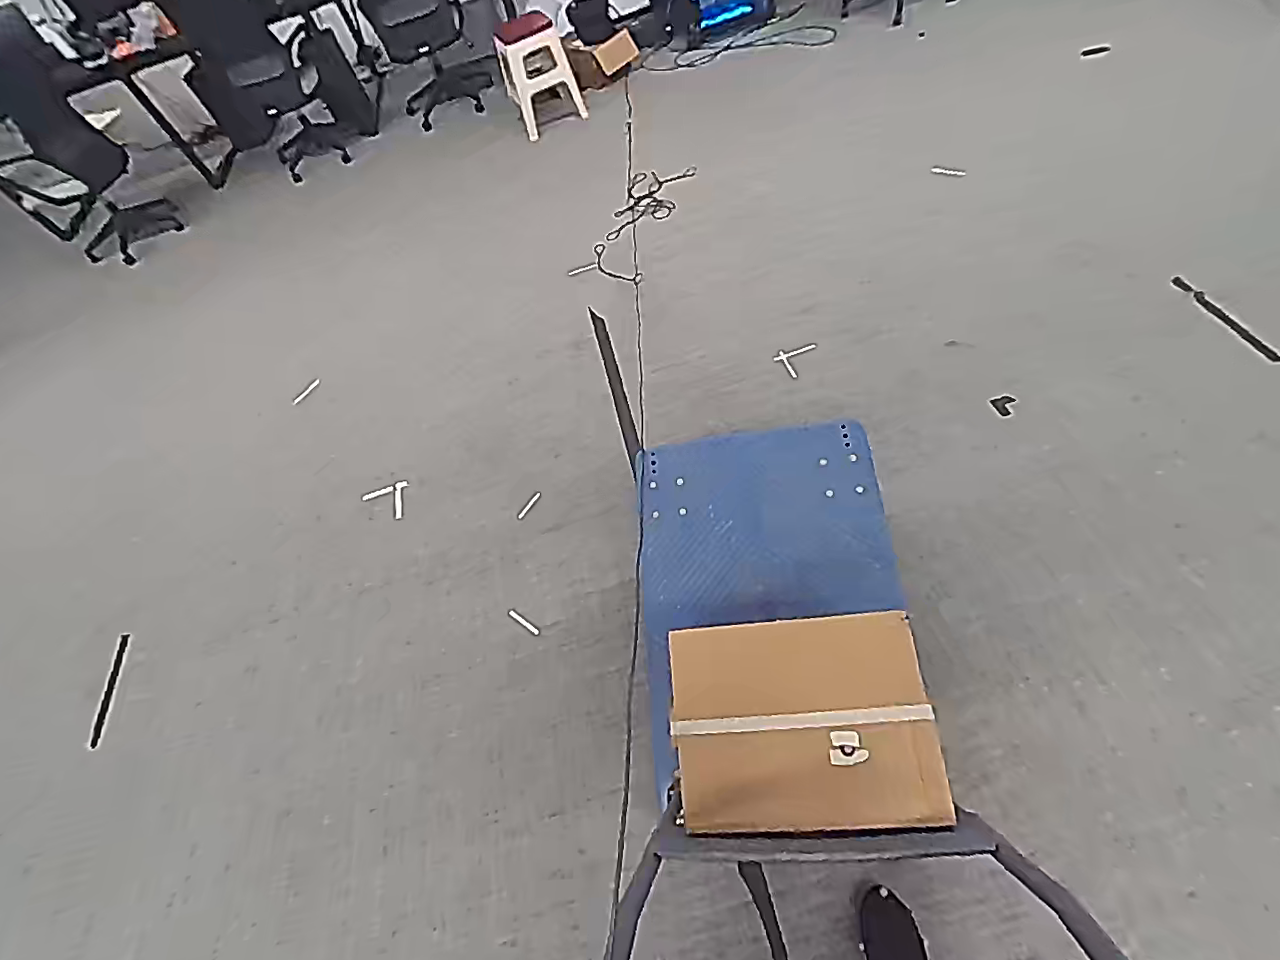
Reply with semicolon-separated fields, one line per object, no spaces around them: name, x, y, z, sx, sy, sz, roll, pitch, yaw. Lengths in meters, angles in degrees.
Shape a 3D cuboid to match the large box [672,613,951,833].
large box;0.289;0.447;1.027;0.408;0.320;0.320;-8;70;9
